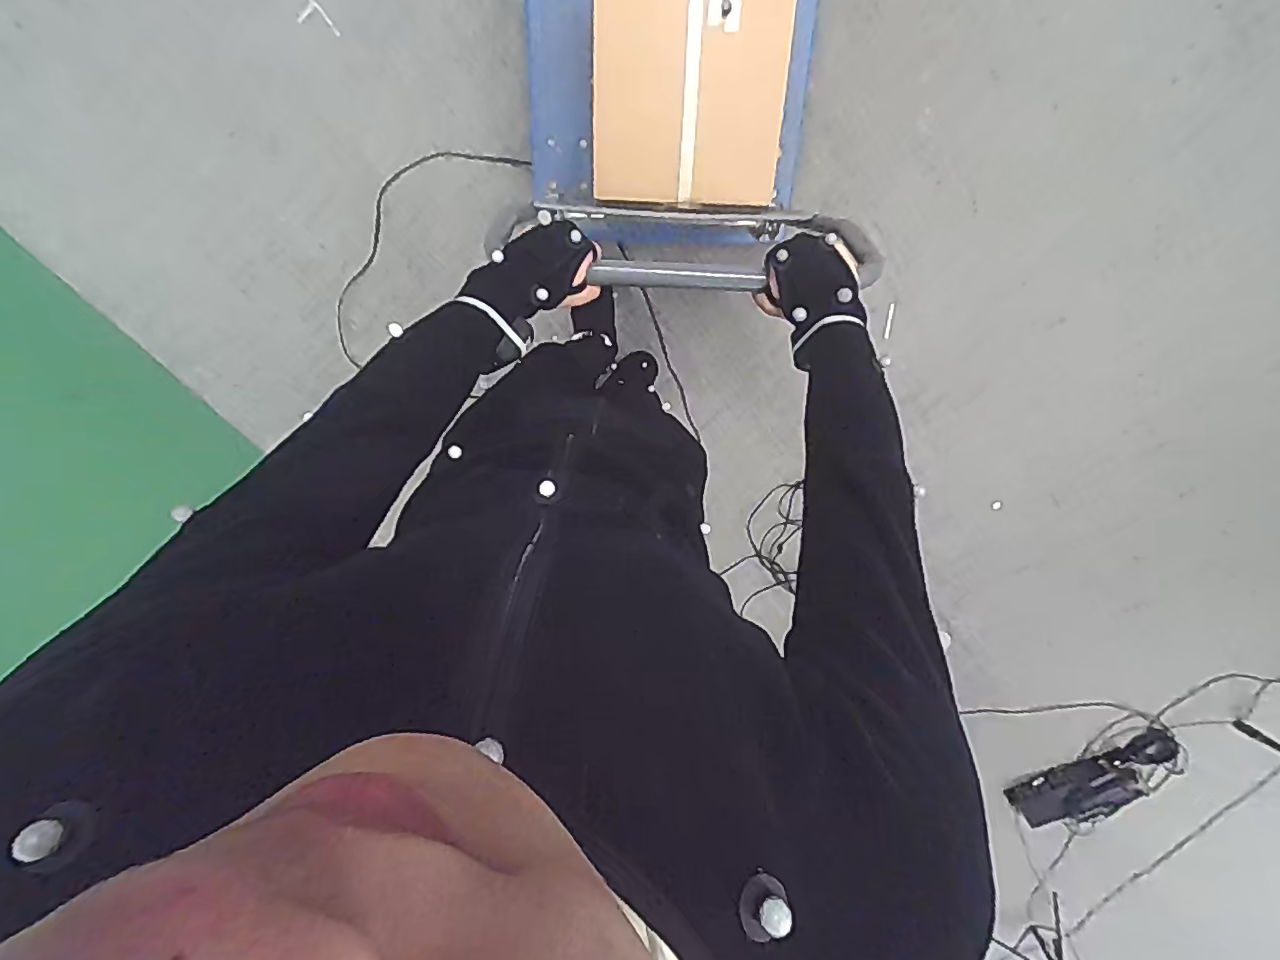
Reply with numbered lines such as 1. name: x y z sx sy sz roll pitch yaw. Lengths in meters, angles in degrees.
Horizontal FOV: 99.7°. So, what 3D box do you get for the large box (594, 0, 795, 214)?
1. large box: 0.082 -0.722 0.999 0.320 0.320 0.408 1 114 -2
